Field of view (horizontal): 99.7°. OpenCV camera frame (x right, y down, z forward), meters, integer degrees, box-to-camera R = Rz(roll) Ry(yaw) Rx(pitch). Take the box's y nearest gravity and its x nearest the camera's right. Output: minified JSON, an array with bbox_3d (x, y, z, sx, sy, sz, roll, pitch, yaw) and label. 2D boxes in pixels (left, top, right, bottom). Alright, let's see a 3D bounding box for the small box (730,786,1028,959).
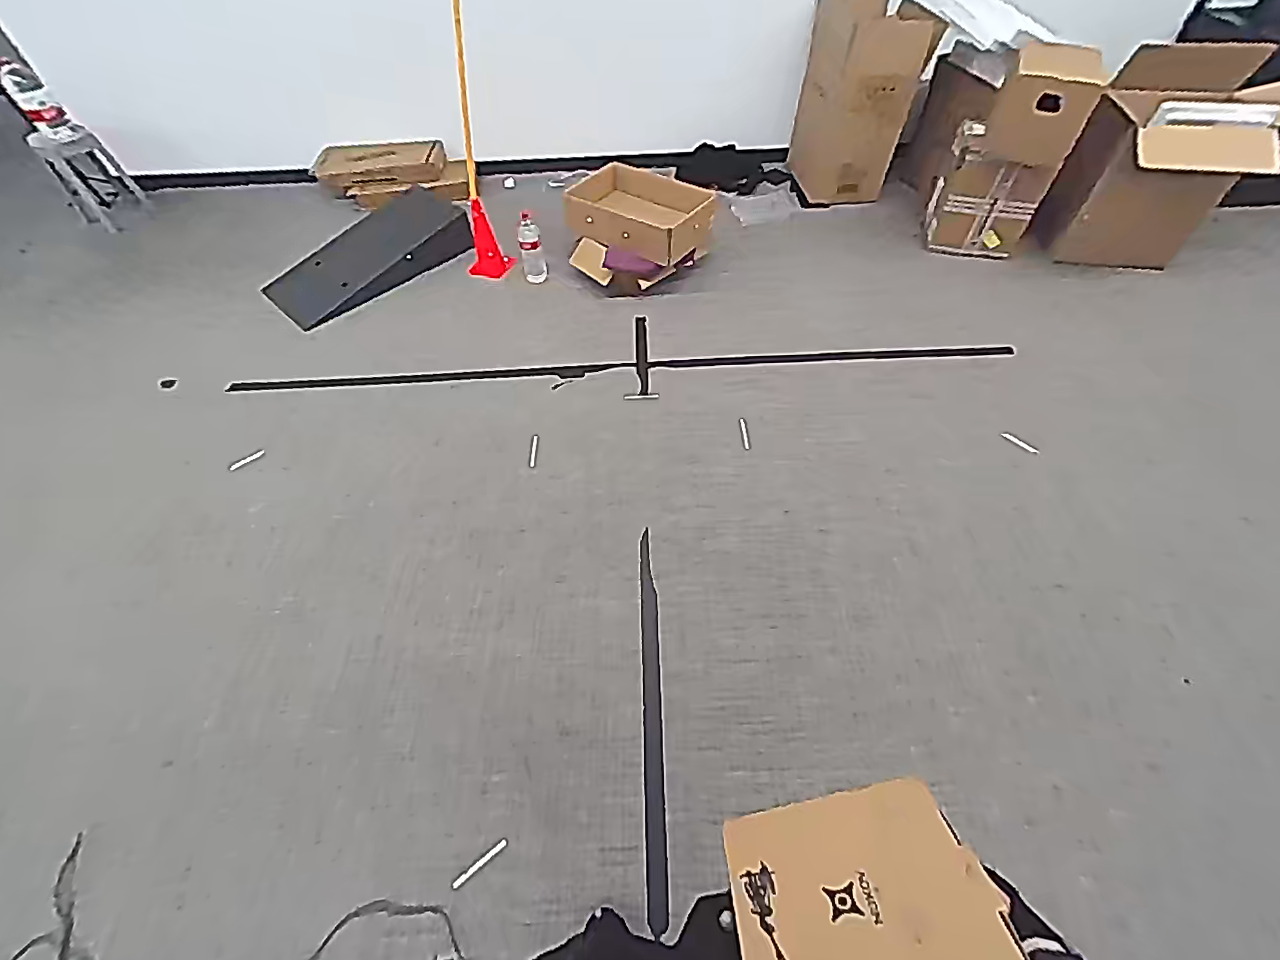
[{"bbox_3d":[0.182,0.381,0.415,0.179,0.176,0.168,-16,17,5],"label":"small box"}]
